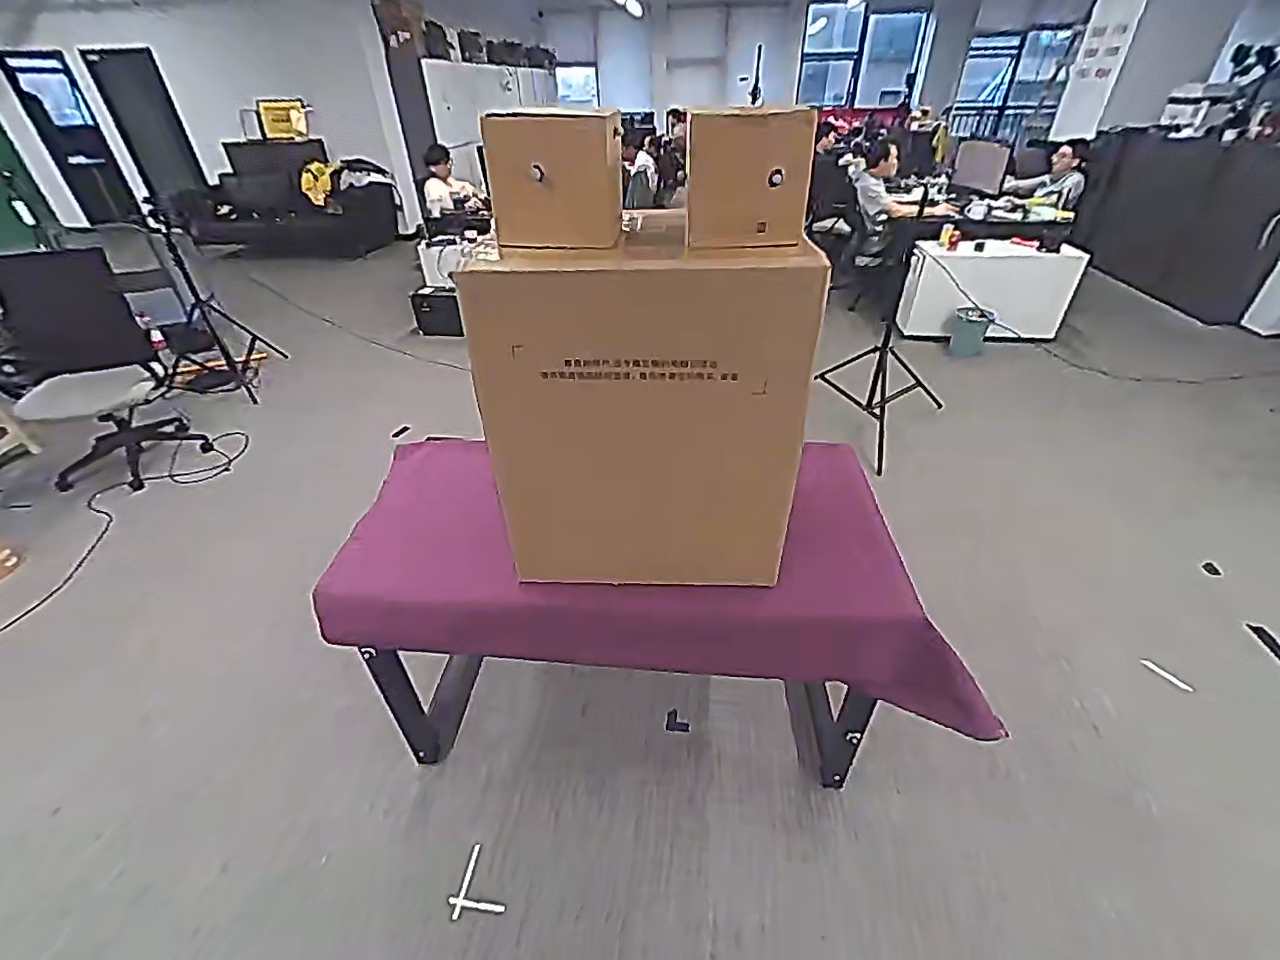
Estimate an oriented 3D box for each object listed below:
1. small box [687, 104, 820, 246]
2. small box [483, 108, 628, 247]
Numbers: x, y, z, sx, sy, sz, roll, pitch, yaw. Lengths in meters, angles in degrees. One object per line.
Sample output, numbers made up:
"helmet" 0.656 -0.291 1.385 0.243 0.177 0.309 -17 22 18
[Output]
"small box" 0.157 -0.455 0.809 0.168 0.176 0.179 0 35 2
"small box" -0.116 -0.461 0.824 0.179 0.176 0.168 3 37 5
